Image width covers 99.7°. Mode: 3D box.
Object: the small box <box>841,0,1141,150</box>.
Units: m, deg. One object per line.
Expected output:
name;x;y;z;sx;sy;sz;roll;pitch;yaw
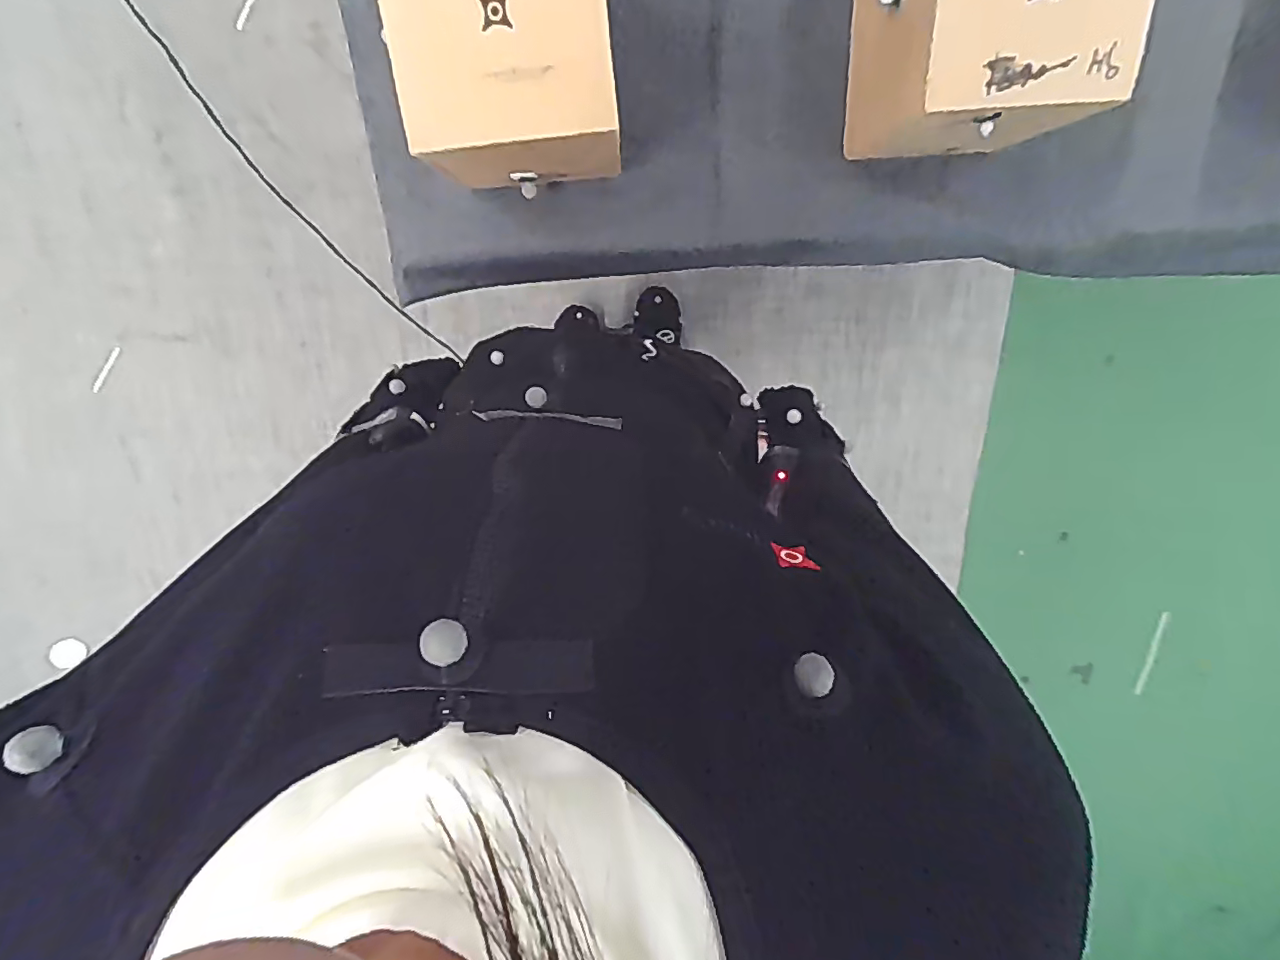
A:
small box;0.288;-0.408;0.468;0.168;0.176;0.179;-3;110;0

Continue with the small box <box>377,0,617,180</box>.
small box;-0.111;-0.379;0.464;0.168;0.176;0.179;-7;110;1
